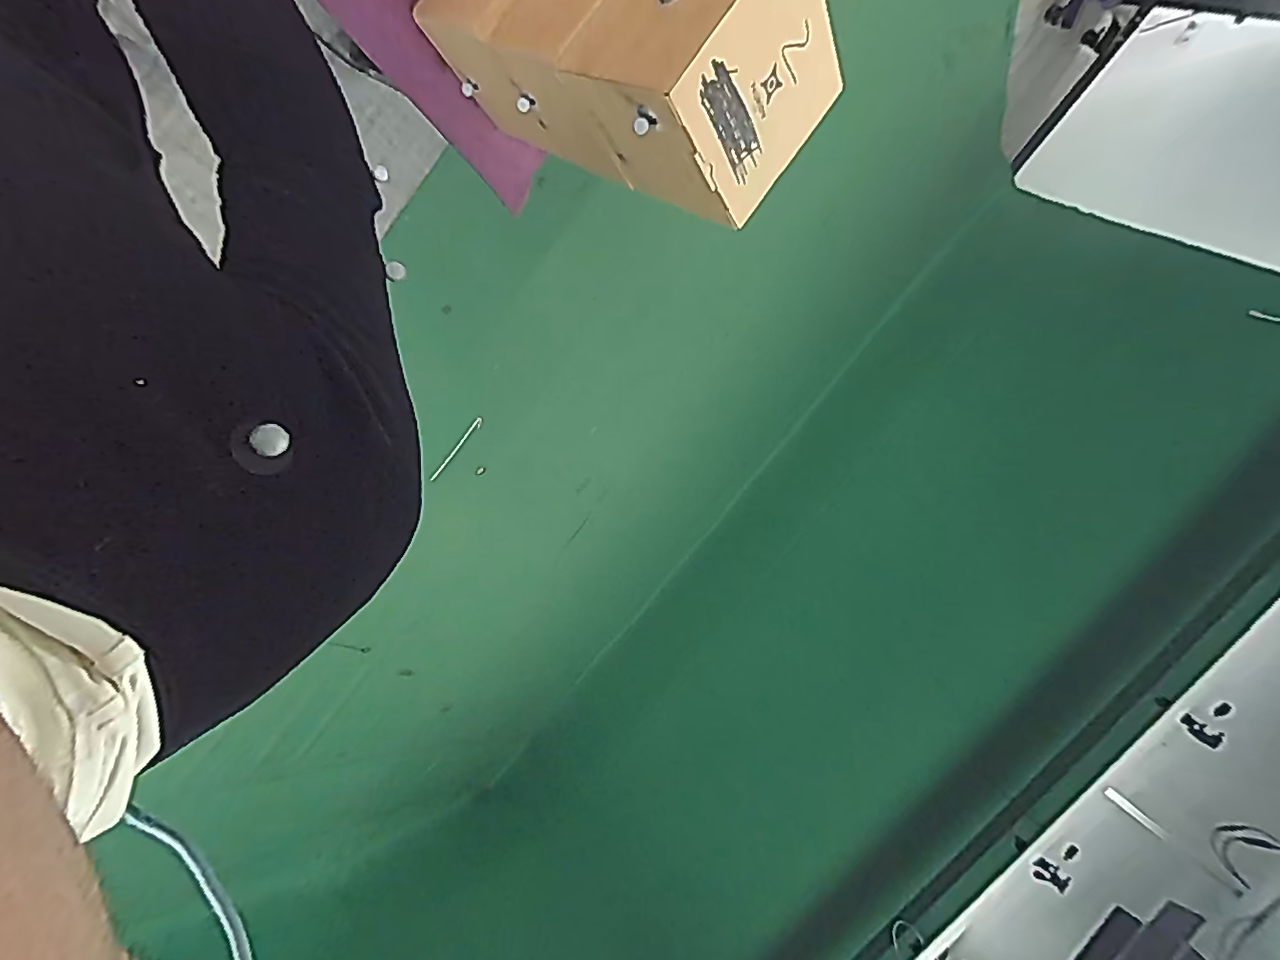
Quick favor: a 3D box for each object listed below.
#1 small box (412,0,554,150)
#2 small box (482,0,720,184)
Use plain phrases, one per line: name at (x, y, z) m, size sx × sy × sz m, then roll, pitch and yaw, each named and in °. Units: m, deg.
small box at (-0.152, -0.582, 0.701) m, size 0.168 × 0.176 × 0.179 m, roll -50°, pitch 149°, yaw 3°
small box at (-0.045, -0.490, 0.618) m, size 0.179 × 0.176 × 0.168 m, roll -50°, pitch 147°, yaw 3°
